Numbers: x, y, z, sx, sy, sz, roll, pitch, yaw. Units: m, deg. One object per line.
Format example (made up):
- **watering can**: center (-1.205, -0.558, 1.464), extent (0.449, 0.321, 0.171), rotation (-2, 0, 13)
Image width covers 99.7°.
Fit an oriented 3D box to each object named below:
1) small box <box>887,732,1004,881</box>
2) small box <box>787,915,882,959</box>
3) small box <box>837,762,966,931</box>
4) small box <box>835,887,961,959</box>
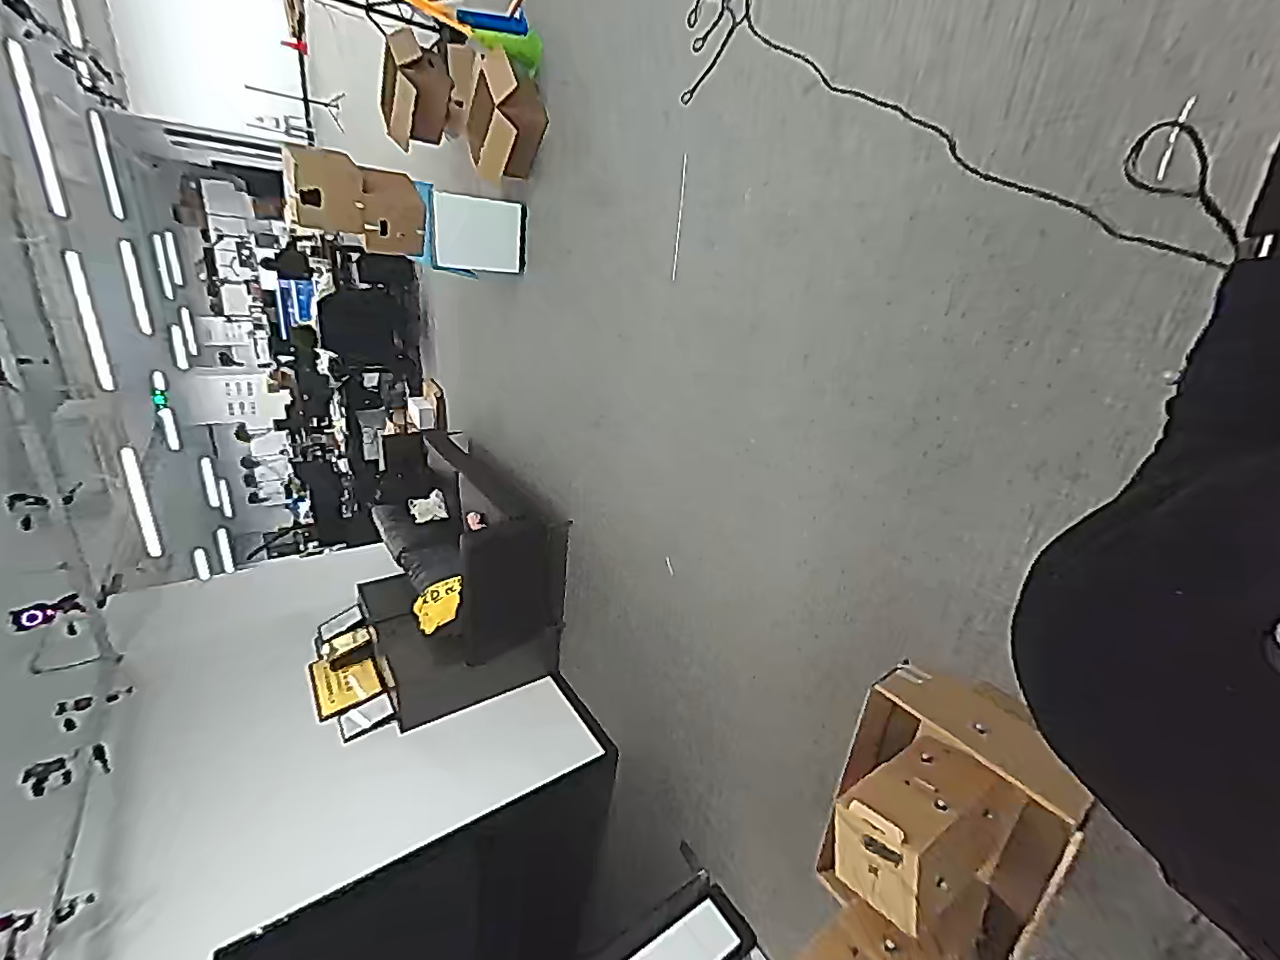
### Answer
- **small box**: center (0.636, 0.667, 1.132), extent (0.168, 0.176, 0.179), rotation (12, 108, 54)
- **small box**: center (0.371, 0.983, 1.008), extent (0.168, 0.176, 0.179), rotation (26, 118, 48)
- **small box**: center (0.502, 0.686, 1.041), extent (0.168, 0.176, 0.179), rotation (12, 108, 55)
- **small box**: center (0.509, 0.952, 1.095), extent (0.179, 0.176, 0.168), rotation (23, 117, 49)
